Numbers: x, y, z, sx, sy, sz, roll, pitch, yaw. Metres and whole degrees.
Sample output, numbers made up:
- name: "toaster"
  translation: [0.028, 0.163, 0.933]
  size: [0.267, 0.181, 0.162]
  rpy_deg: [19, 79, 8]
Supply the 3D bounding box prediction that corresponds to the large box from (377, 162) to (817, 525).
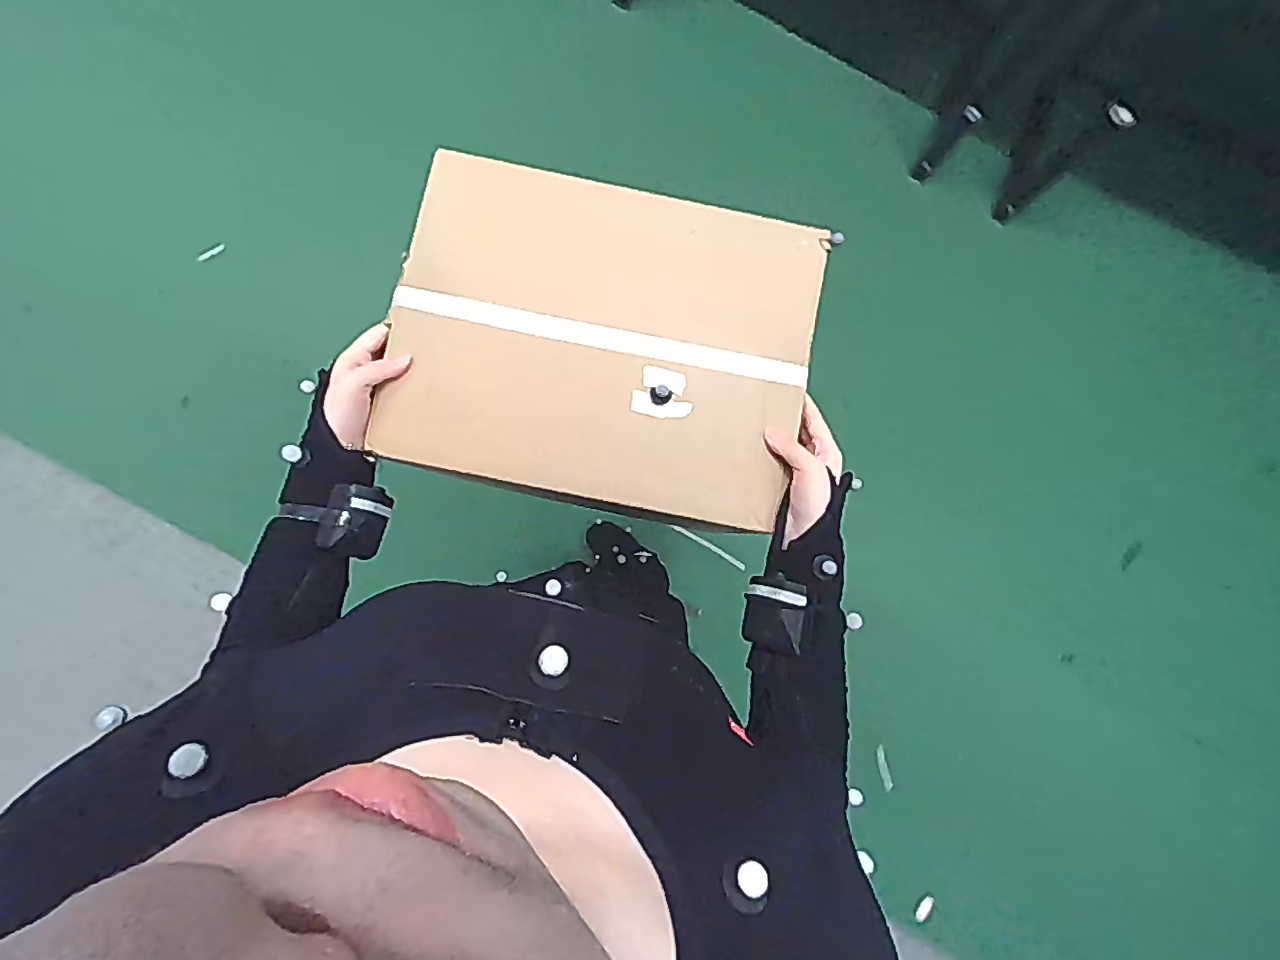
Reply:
- name: "large box"
  translation: [-0.044, -0.128, 0.685]
  size: [0.408, 0.320, 0.320]
  rpy_deg: [10, 85, -2]
